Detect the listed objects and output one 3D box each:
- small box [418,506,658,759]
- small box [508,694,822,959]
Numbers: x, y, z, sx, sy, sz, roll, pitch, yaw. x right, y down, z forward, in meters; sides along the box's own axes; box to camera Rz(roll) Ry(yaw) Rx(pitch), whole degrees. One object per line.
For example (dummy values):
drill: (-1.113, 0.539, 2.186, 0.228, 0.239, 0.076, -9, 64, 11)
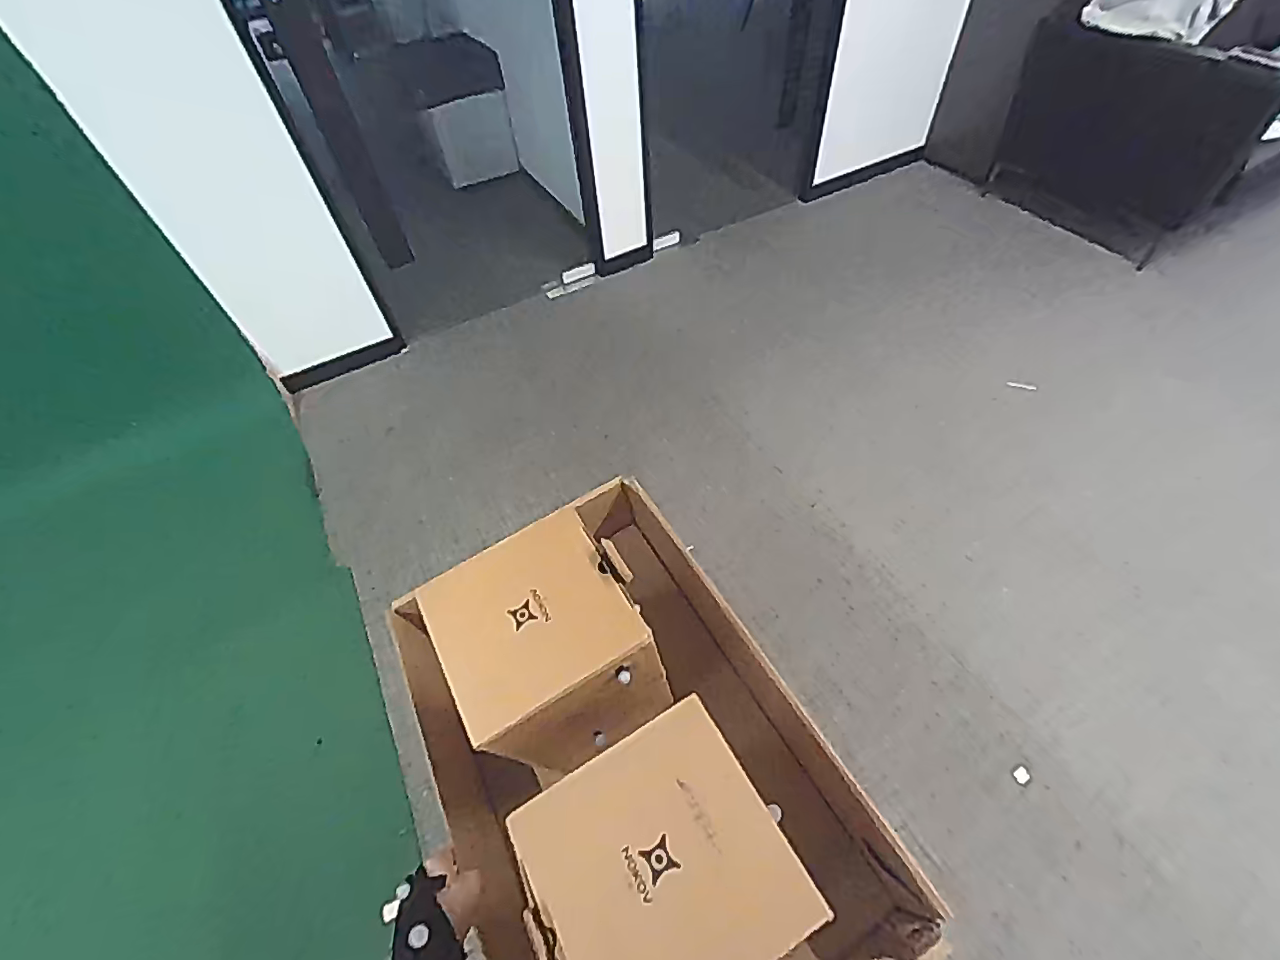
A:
small box: (-0.096, 0.166, 0.570, 0.179, 0.176, 0.168, -30, 58, -12)
small box: (0.022, 0.315, 0.446, 0.179, 0.176, 0.168, -29, 55, -11)
